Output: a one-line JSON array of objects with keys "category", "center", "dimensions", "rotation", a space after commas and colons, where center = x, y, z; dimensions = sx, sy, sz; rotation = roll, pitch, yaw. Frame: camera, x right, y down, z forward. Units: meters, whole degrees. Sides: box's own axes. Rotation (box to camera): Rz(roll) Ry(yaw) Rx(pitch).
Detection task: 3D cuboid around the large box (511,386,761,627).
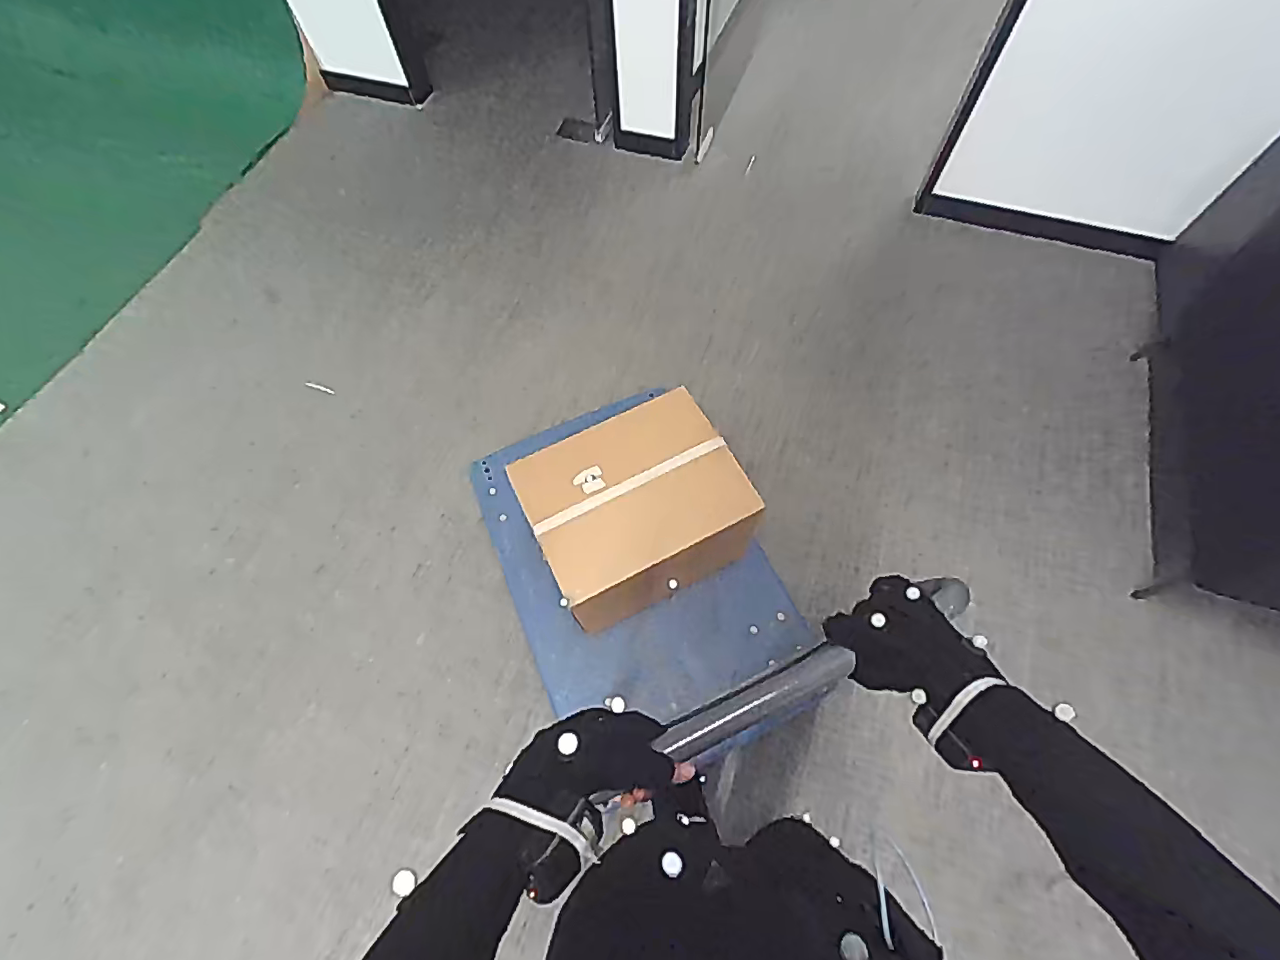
[{"category": "large box", "center": [-0.005, 0.070, 1.180], "dimensions": [0.408, 0.320, 0.320], "rotation": [-27, 67, -9]}]
